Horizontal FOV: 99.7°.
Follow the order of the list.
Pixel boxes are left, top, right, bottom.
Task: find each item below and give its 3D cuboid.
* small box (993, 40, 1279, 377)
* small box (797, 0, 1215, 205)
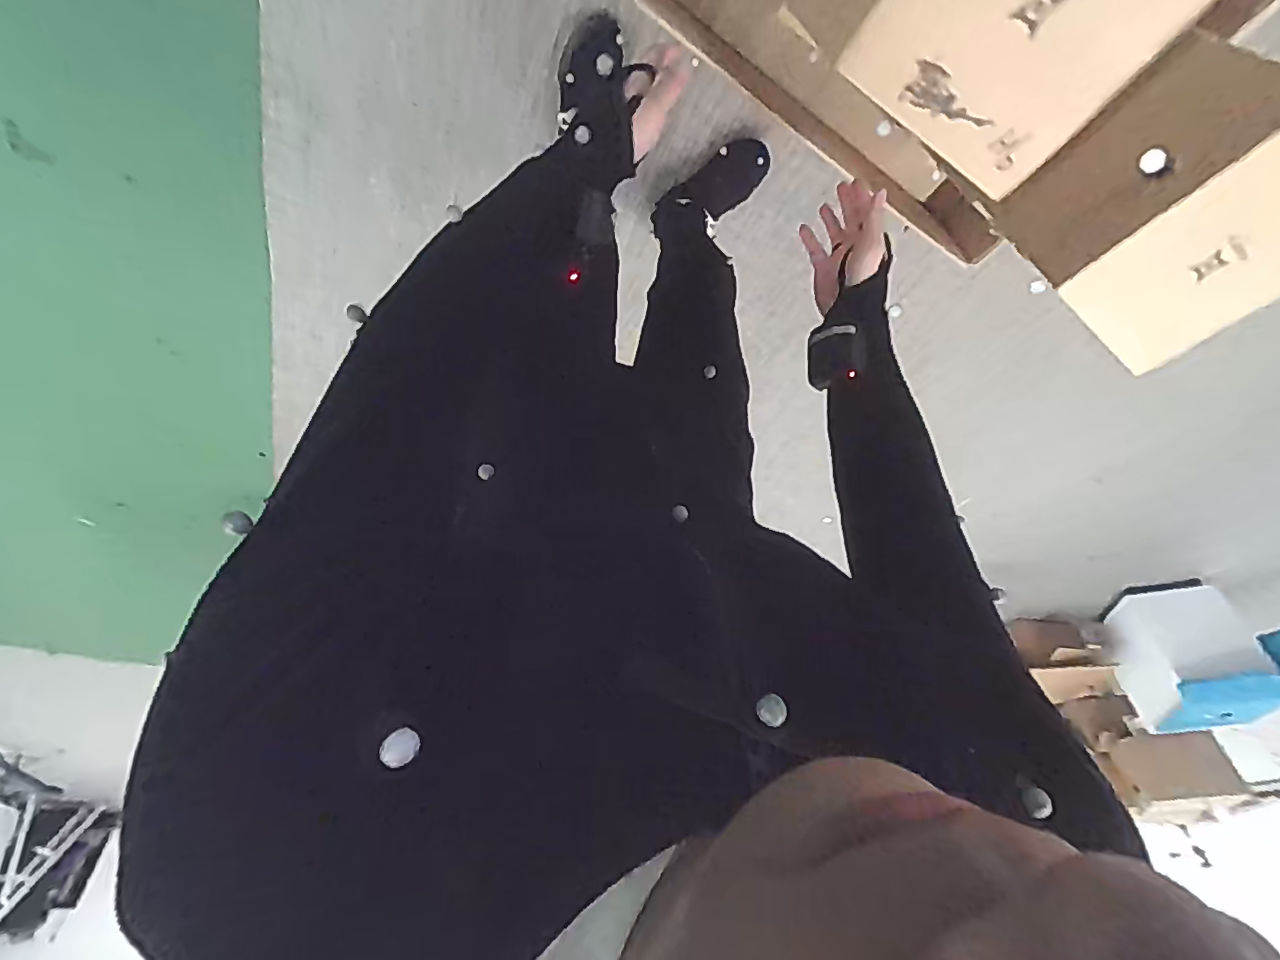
[{"bbox_3d":[0.455,-0.234,0.483,0.168,0.176,0.179,24,135,-26],"label":"small box"},{"bbox_3d":[0.227,-0.331,0.351,0.168,0.176,0.179,20,137,-22],"label":"small box"}]
